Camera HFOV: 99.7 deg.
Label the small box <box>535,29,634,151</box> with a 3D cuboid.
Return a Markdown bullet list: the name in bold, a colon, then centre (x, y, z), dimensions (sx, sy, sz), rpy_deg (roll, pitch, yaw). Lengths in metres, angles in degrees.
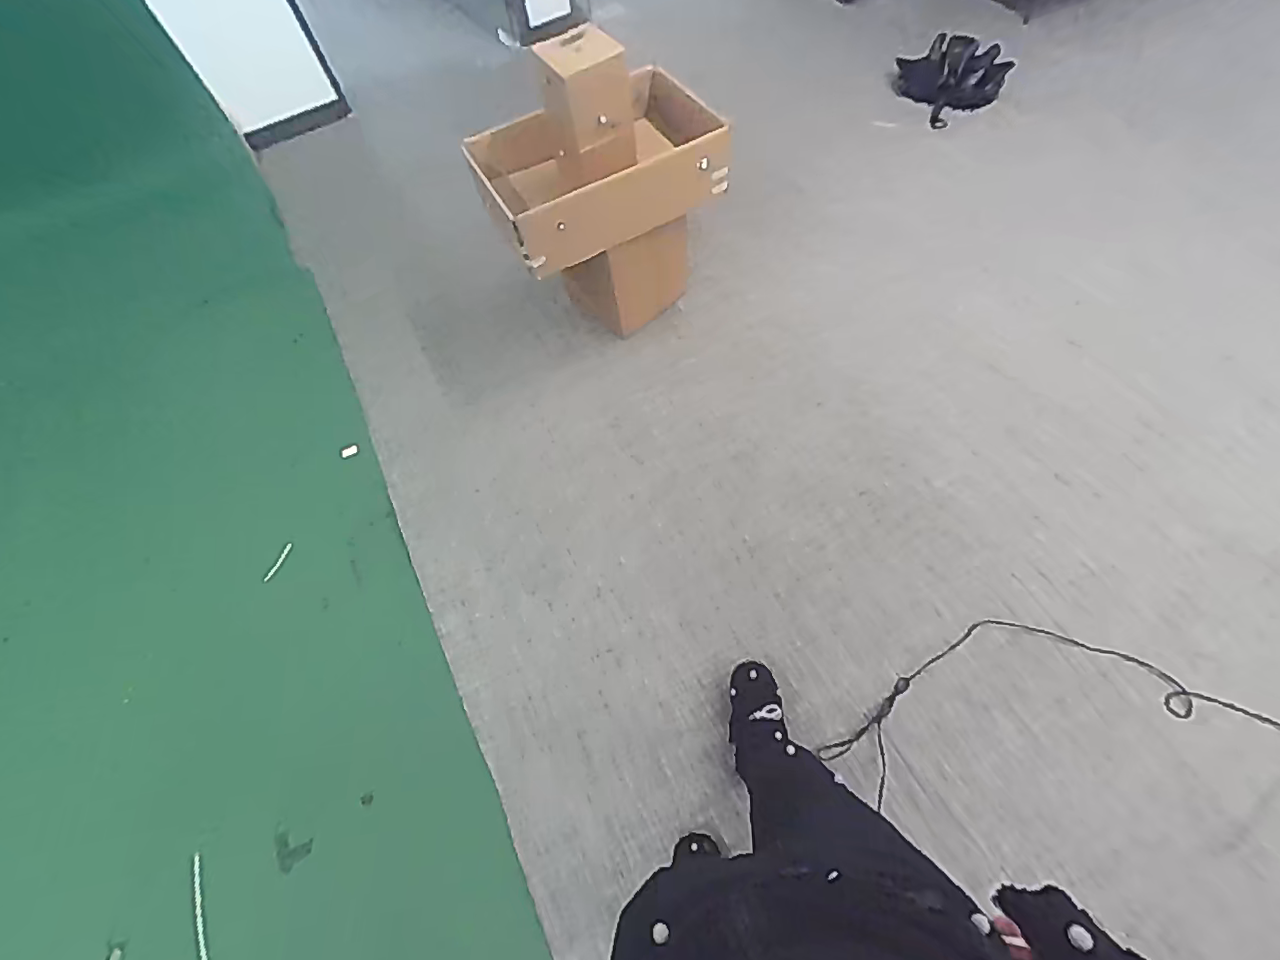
- **small box**: centre (-0.131, -0.946, 1.319), dimensions (0.168, 0.176, 0.179), rpy_deg (-31, 64, -9)

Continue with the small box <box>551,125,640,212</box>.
- **small box**: centre (-0.116, -0.867, 1.462), dimensions (0.168, 0.176, 0.179), rpy_deg (-32, 64, -10)
